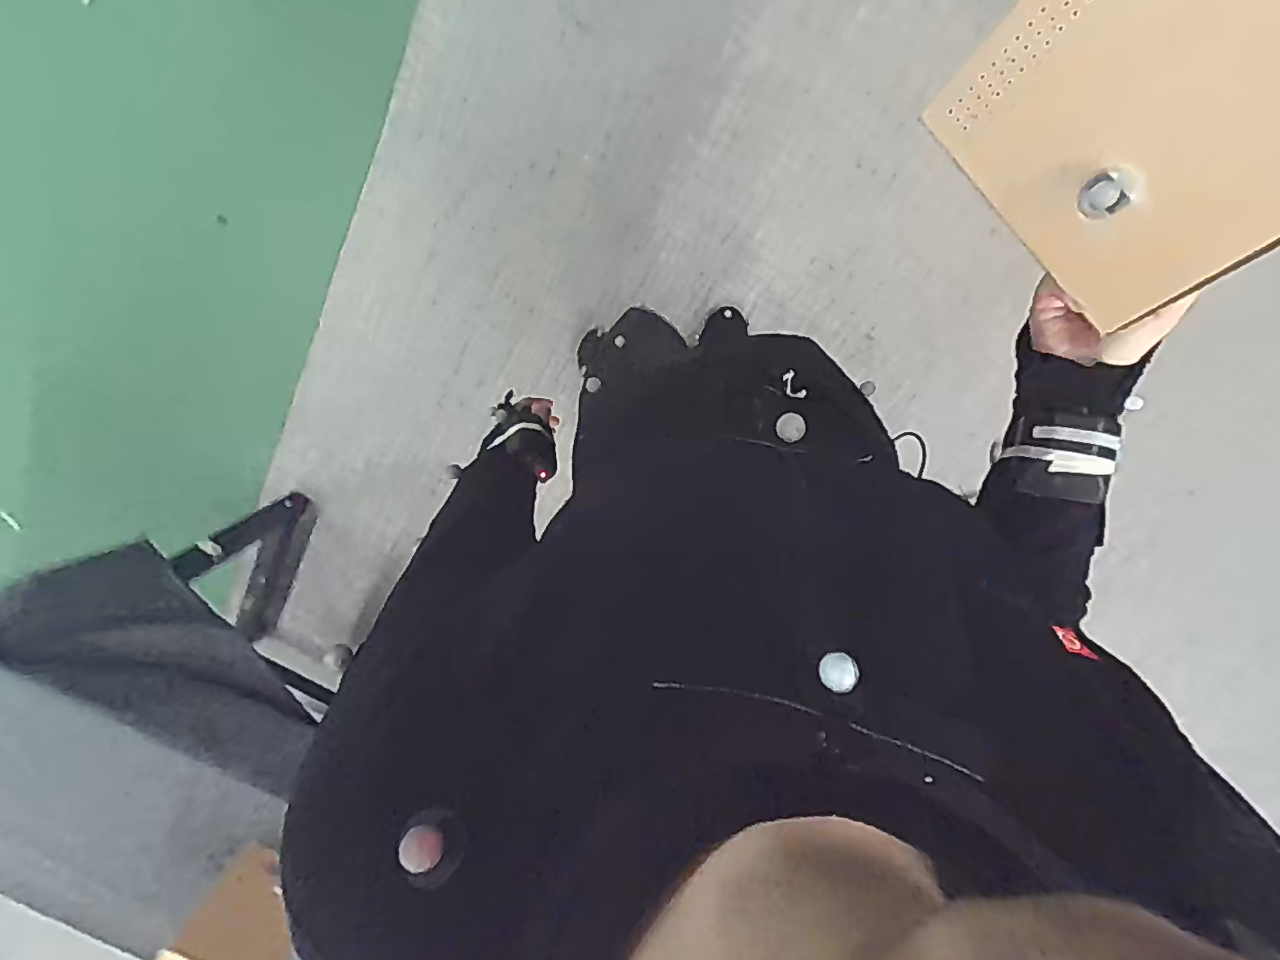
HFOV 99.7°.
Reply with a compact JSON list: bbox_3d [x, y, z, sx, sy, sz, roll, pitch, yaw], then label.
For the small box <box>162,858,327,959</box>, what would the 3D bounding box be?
[{"bbox_3d":[-0.640,0.758,0.860,0.168,0.176,0.179,30,109,-7],"label":"small box"}]
